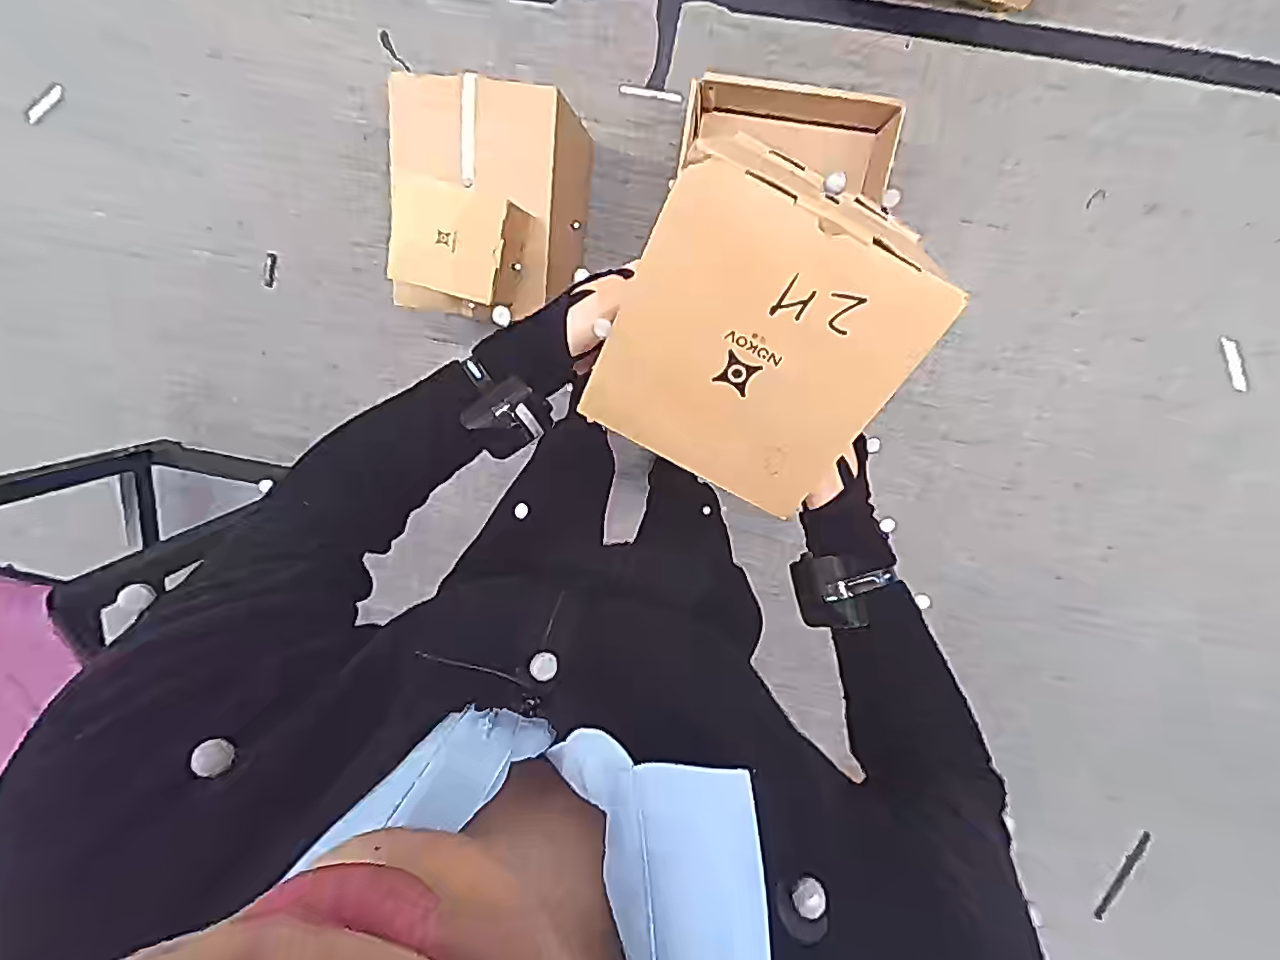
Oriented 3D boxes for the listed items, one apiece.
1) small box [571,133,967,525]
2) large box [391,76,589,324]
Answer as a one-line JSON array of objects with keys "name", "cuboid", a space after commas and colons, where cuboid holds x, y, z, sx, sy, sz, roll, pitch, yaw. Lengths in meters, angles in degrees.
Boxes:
[{"name": "small box", "cuboid": [0.078, -0.109, 0.378, 0.168, 0.176, 0.179, 28, 124, -4]}, {"name": "large box", "cuboid": [-0.295, -0.560, 1.150, 0.320, 0.320, 0.408, 8, 109, 5]}]
